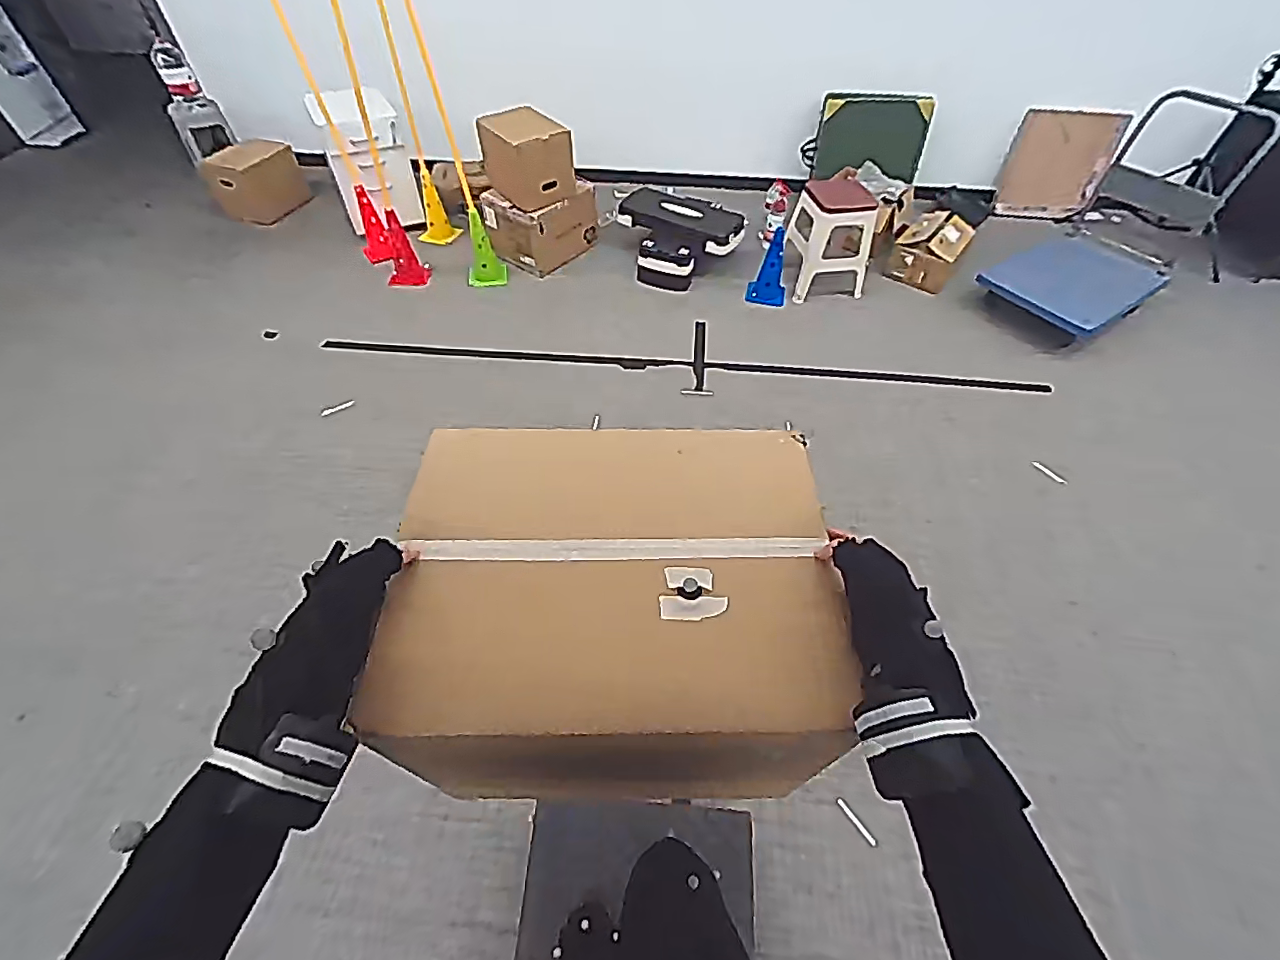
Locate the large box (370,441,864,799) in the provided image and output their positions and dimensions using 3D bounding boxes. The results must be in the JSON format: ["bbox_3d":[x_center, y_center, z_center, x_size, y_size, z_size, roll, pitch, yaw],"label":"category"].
[{"bbox_3d":[-0.022,0.169,0.635,0.408,0.320,0.320,0,52,-1],"label":"large box"}]
